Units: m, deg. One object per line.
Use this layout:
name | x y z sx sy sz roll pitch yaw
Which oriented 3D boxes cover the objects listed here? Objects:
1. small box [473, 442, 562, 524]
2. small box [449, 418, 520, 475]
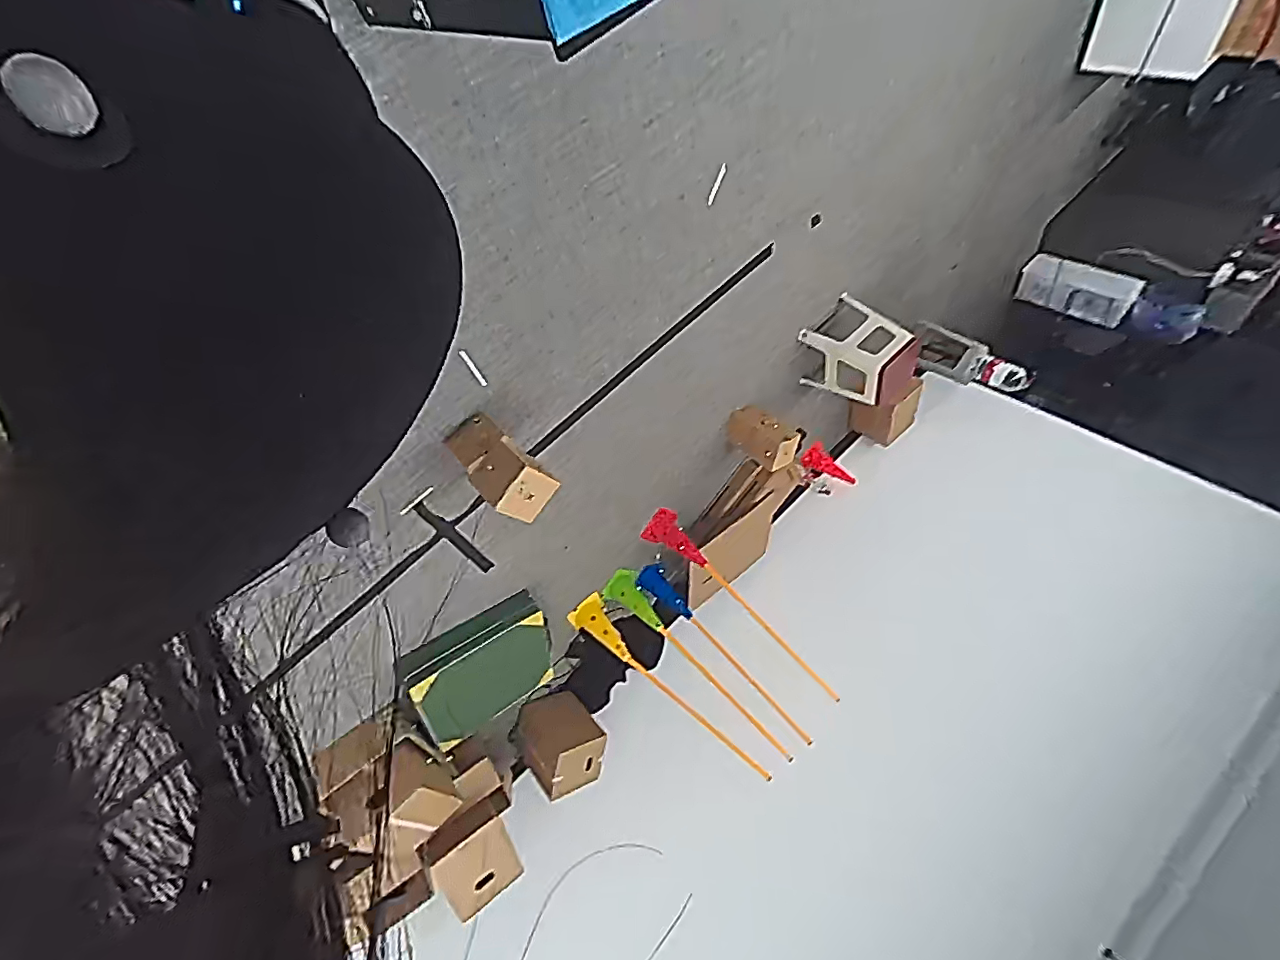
small box | -0.387 0.007 1.707 0.168 0.176 0.179 -51 143 0
small box | -0.497 -0.083 1.791 0.168 0.176 0.179 -43 145 -10
